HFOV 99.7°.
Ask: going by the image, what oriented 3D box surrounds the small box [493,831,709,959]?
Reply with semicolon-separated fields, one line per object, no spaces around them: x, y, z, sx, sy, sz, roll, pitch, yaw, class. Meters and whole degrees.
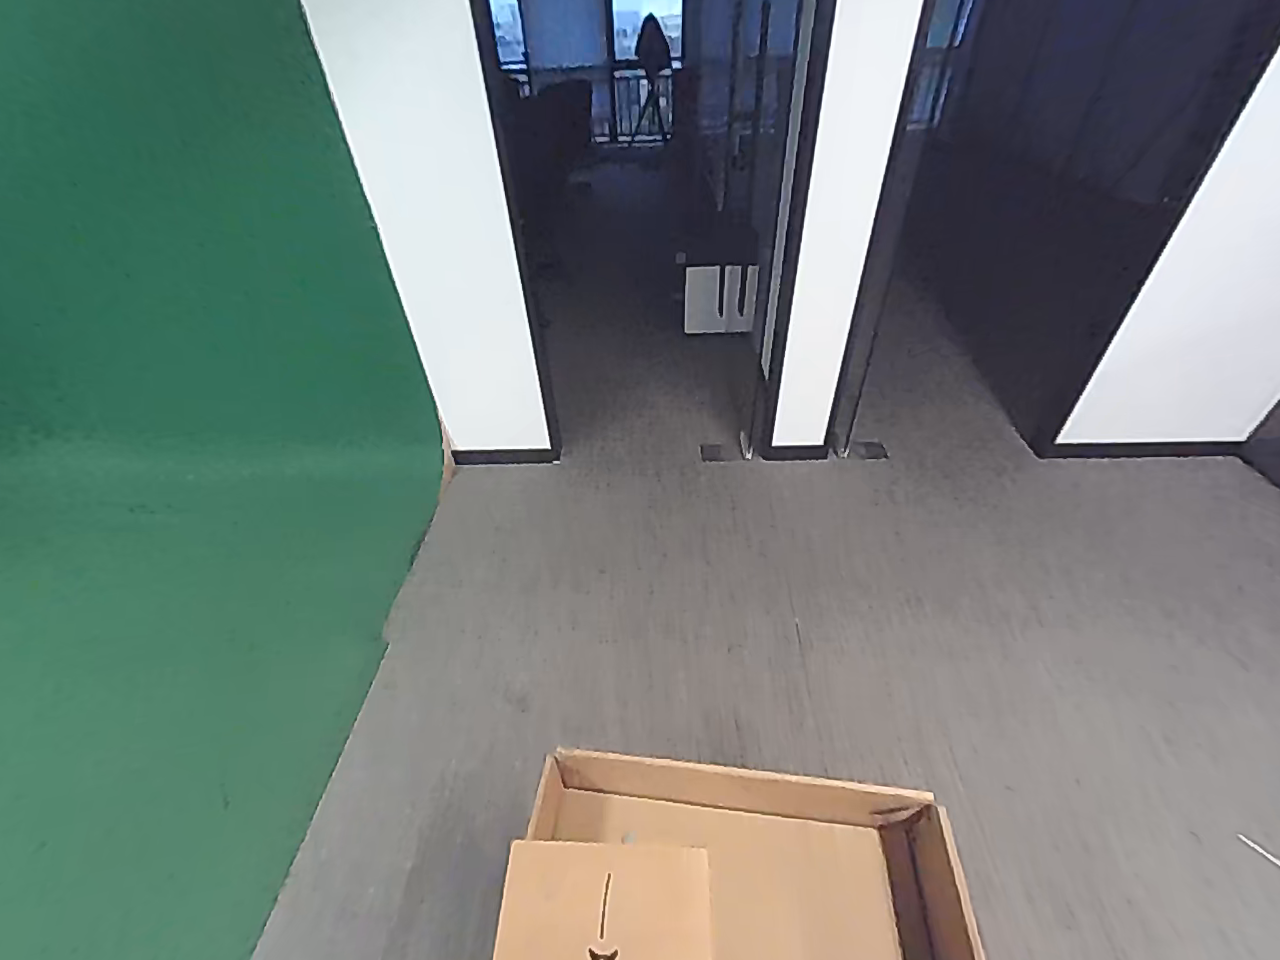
-0.024;0.415;0.460;0.168;0.176;0.179;0;50;4;small box
